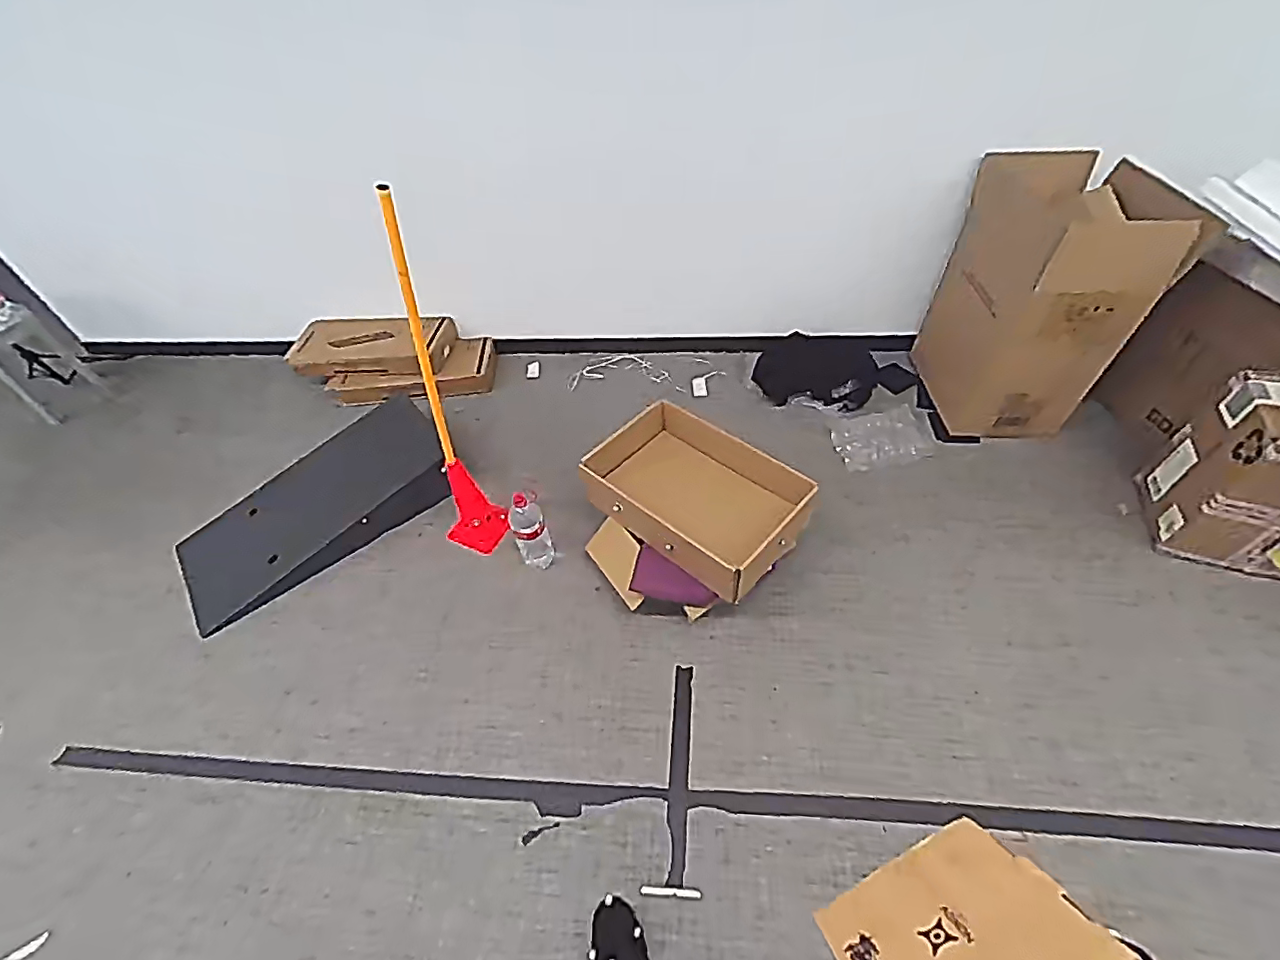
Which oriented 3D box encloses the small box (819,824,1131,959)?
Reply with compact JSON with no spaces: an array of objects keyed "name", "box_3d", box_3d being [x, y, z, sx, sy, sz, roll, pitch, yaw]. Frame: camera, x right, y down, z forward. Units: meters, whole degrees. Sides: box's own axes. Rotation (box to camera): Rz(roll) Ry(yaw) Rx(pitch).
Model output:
[{"name":"small box","box_3d":[0.284,0.437,0.434,0.179,0.168,0.176,-26,88,-6]}]
